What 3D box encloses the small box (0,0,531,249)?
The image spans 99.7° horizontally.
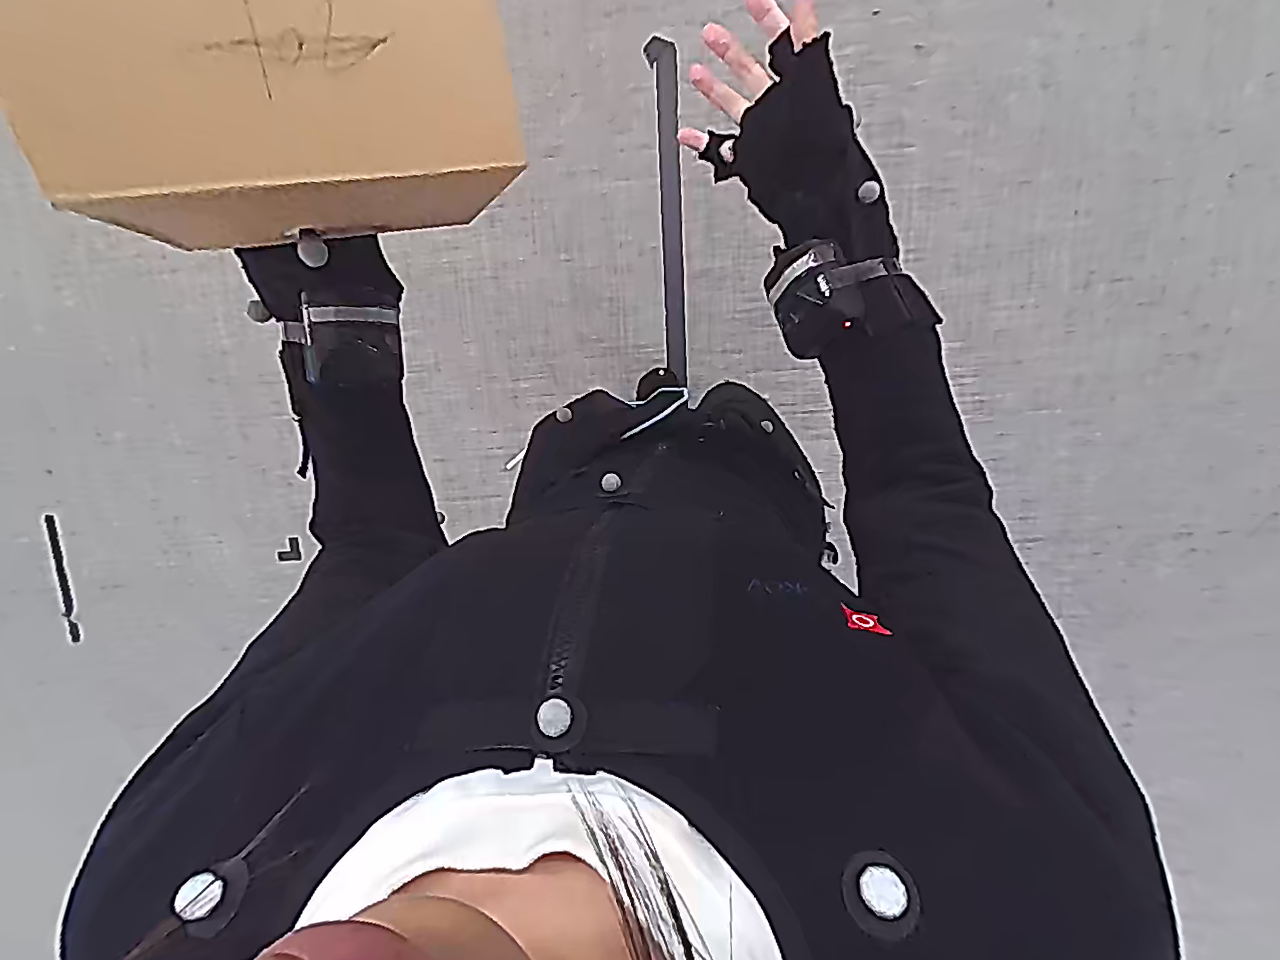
[{"bbox_3d":[-0.167,-0.221,0.258,0.168,0.176,0.179,-16,112,-20],"label":"small box"}]
